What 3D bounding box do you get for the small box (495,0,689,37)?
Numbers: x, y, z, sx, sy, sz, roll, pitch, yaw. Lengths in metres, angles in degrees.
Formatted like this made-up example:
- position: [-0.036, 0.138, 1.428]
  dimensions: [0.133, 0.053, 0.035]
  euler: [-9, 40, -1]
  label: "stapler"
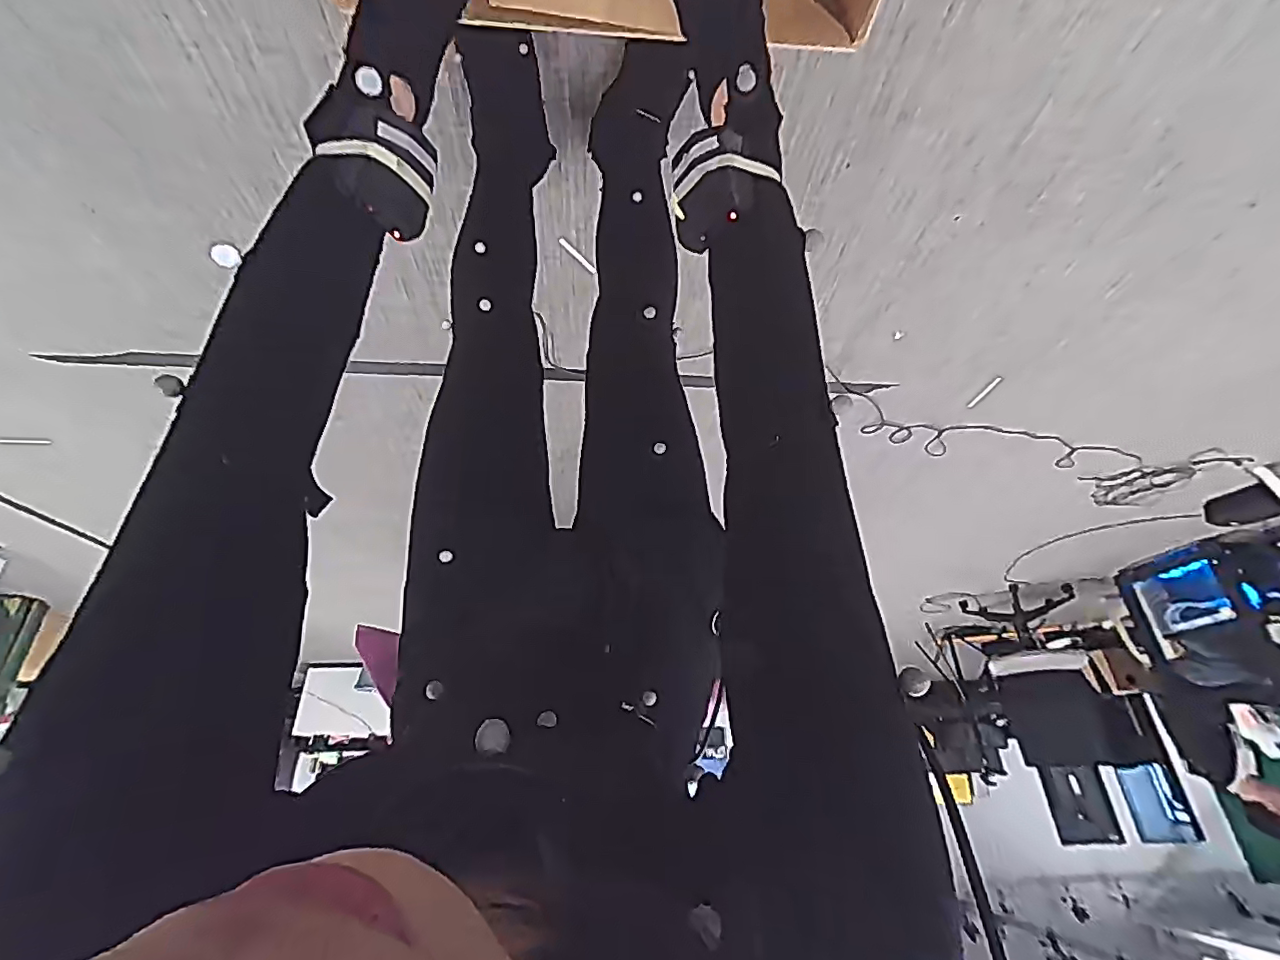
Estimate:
- position: [-0.032, -0.503, 0.425]
  dimensions: [0.168, 0.176, 0.179]
  euler: [3, 152, -8]
  label: "small box"
